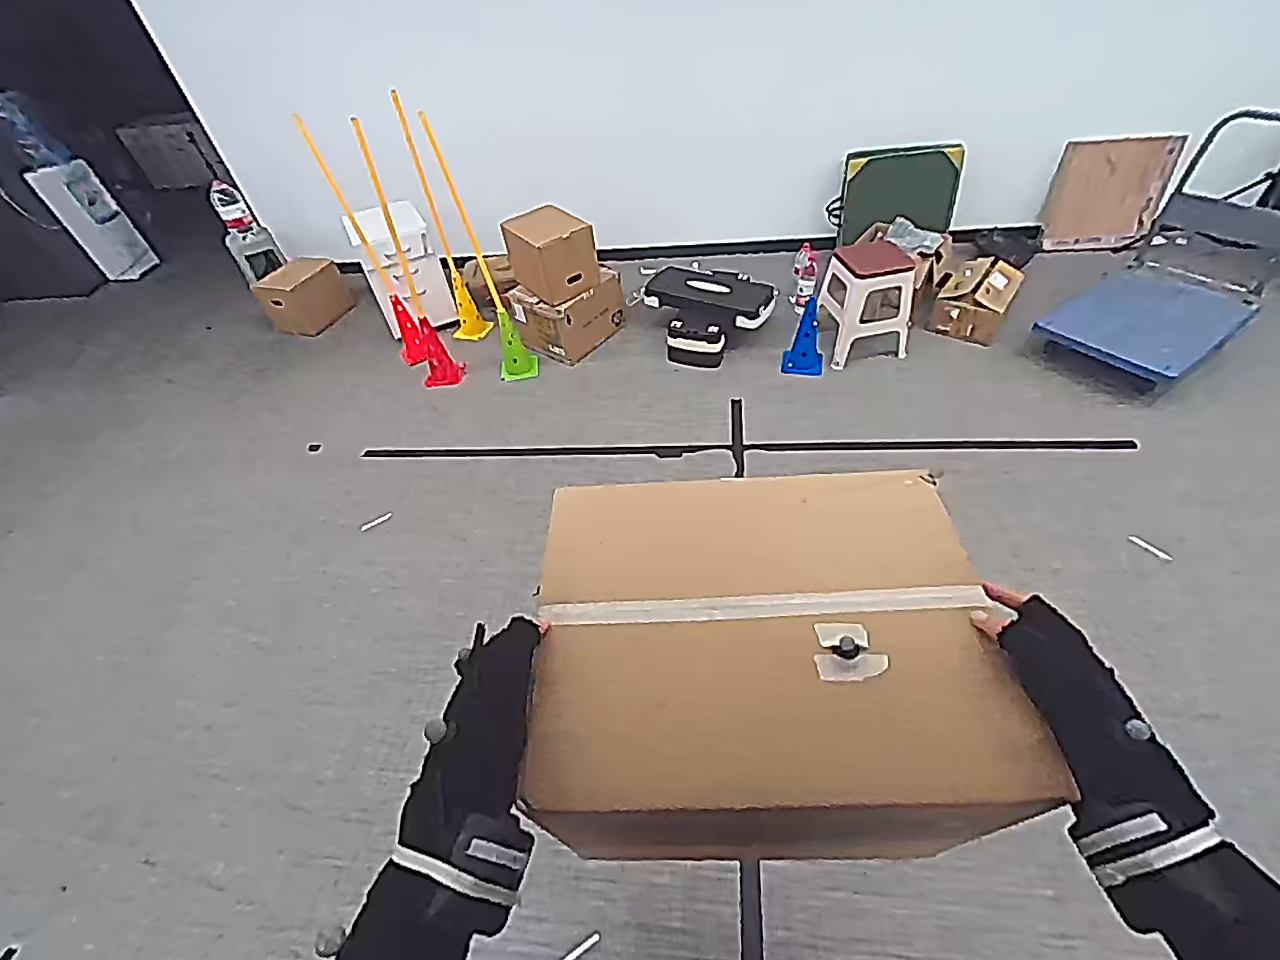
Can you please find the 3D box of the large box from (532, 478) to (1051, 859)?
[{"bbox_3d":[0.118,0.221,0.618,0.408,0.320,0.320,-3,49,3],"label":"large box"}]
